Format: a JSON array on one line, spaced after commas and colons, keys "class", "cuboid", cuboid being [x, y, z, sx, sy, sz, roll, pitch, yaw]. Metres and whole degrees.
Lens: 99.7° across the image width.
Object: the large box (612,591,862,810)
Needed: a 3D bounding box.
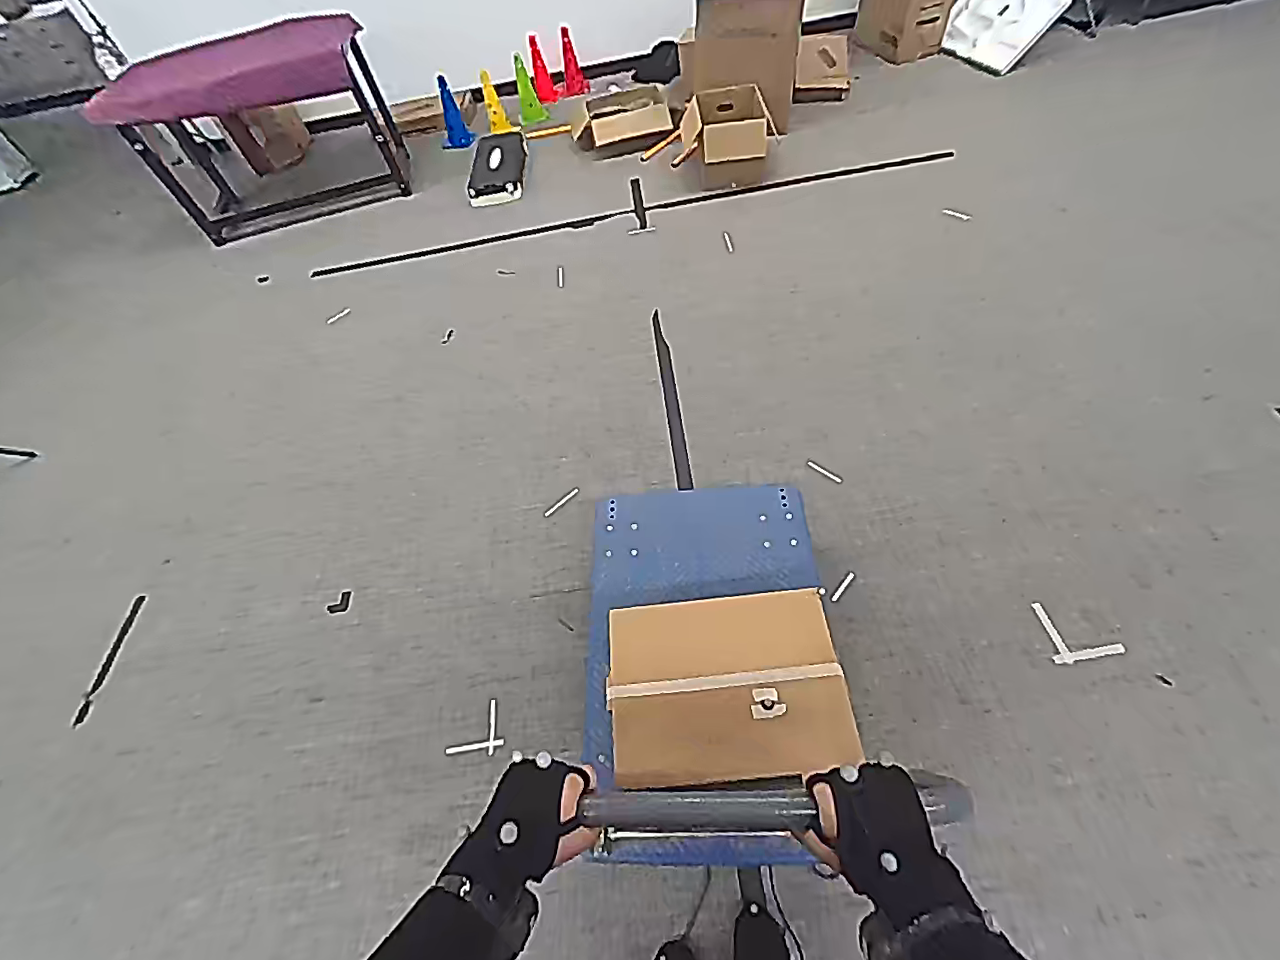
[{"class": "large box", "cuboid": [0.167, 0.450, 1.084, 0.408, 0.320, 0.320, -7, 55, 3]}]
